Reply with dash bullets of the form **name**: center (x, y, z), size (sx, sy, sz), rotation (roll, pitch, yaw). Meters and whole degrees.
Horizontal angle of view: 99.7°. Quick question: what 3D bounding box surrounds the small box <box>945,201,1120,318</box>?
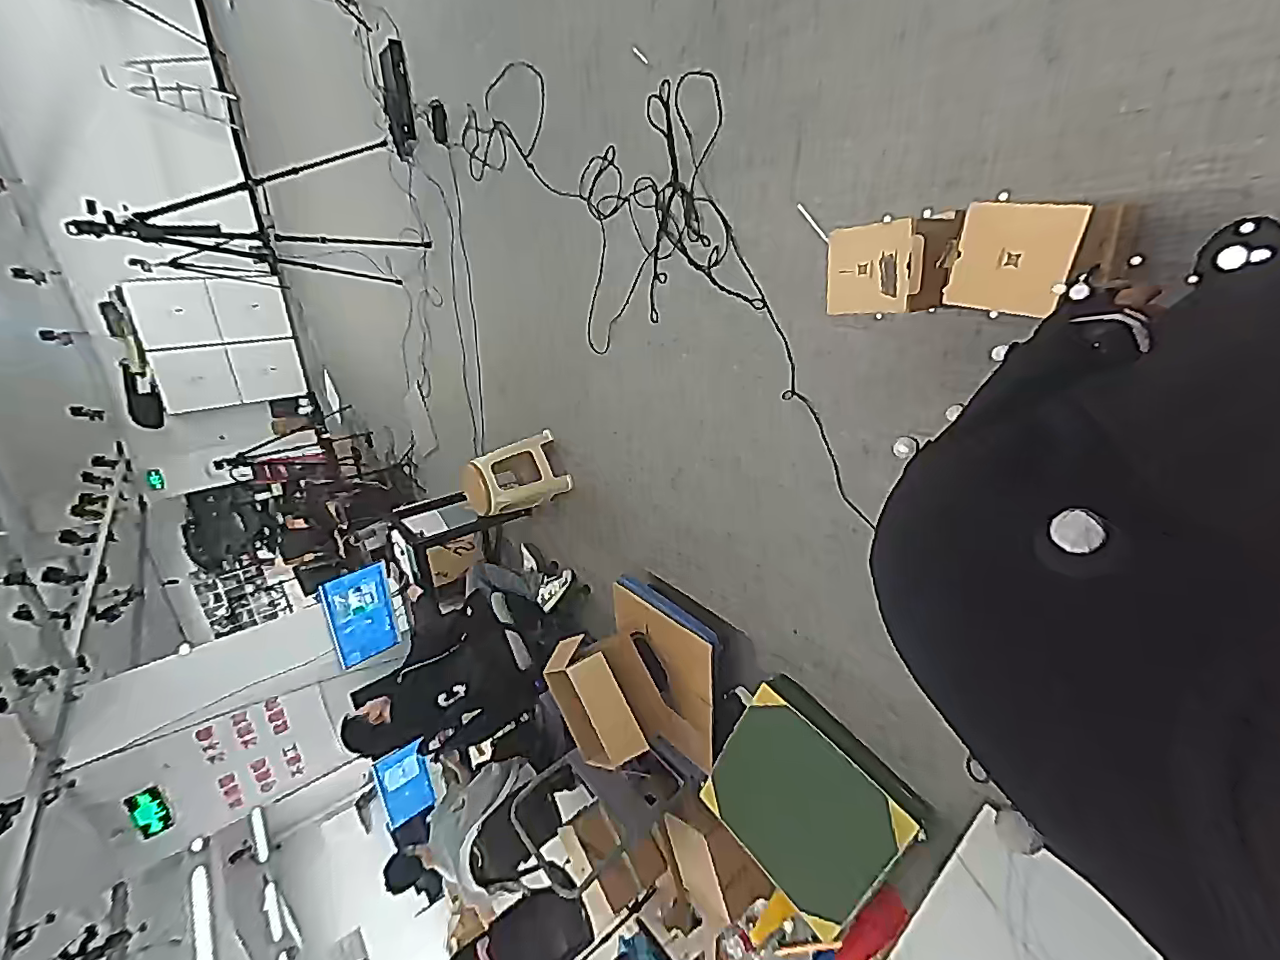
- **small box**: center (0.667, -0.382, 0.922), size (0.179, 0.176, 0.168), rotation (30, 129, 43)

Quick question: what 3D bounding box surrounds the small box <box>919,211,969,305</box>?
- **small box**: center (0.646, -0.476, 1.184), size (0.168, 0.176, 0.179), rotation (11, 114, 51)

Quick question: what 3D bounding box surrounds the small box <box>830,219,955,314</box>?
- **small box**: center (0.512, -0.430, 1.098), size (0.179, 0.176, 0.168), rotation (18, 119, 49)
